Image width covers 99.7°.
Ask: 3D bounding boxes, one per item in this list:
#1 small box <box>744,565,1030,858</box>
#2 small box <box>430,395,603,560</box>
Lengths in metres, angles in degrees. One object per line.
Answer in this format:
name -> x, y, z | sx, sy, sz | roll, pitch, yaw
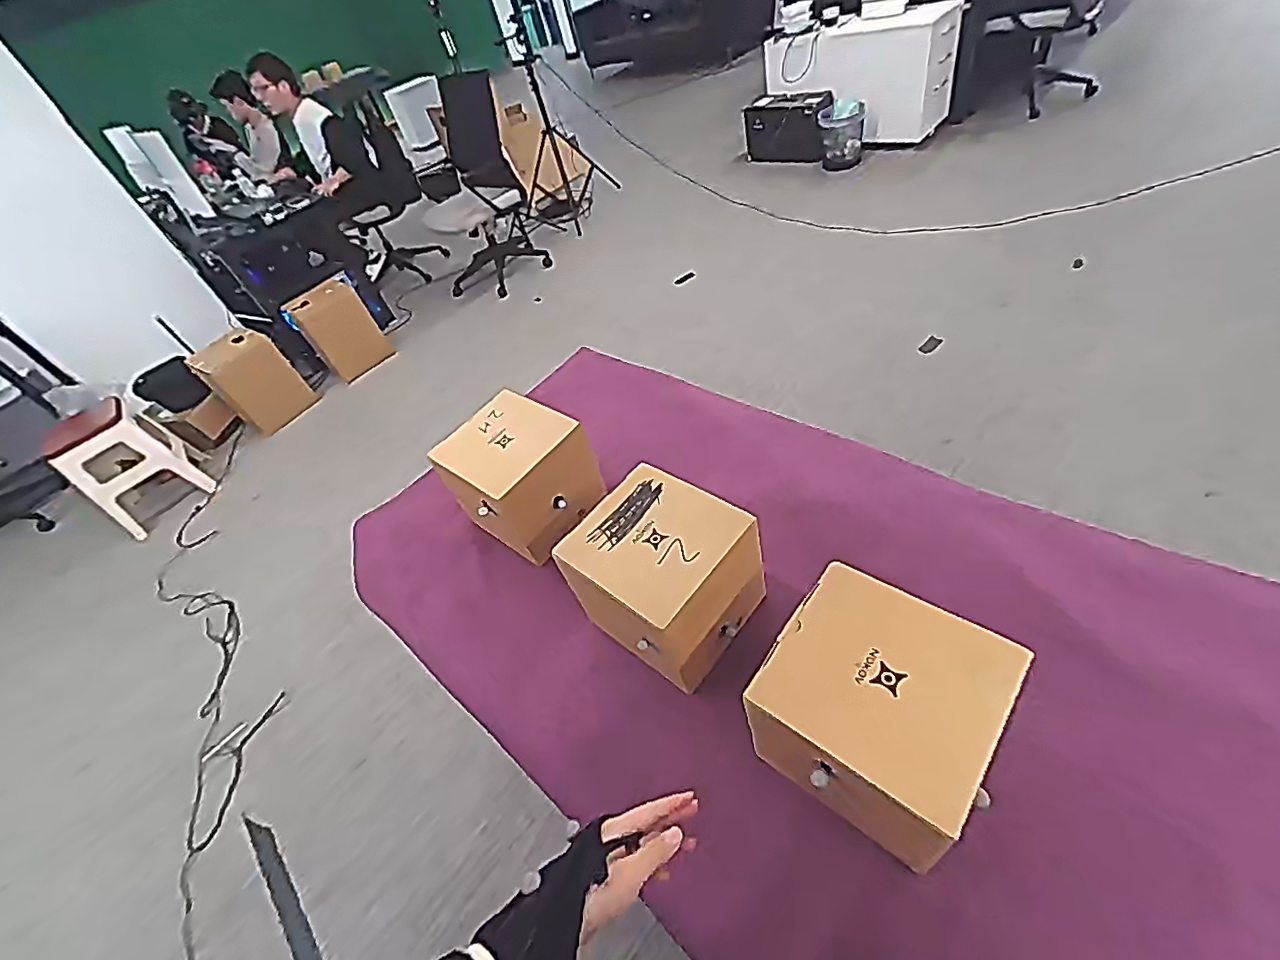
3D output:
small box -> 0.224, 0.219, 0.513 | 0.179, 0.176, 0.168 | 24, 59, 36
small box -> -0.182, 0.001, 0.848 | 0.179, 0.176, 0.168 | 26, 60, 33
